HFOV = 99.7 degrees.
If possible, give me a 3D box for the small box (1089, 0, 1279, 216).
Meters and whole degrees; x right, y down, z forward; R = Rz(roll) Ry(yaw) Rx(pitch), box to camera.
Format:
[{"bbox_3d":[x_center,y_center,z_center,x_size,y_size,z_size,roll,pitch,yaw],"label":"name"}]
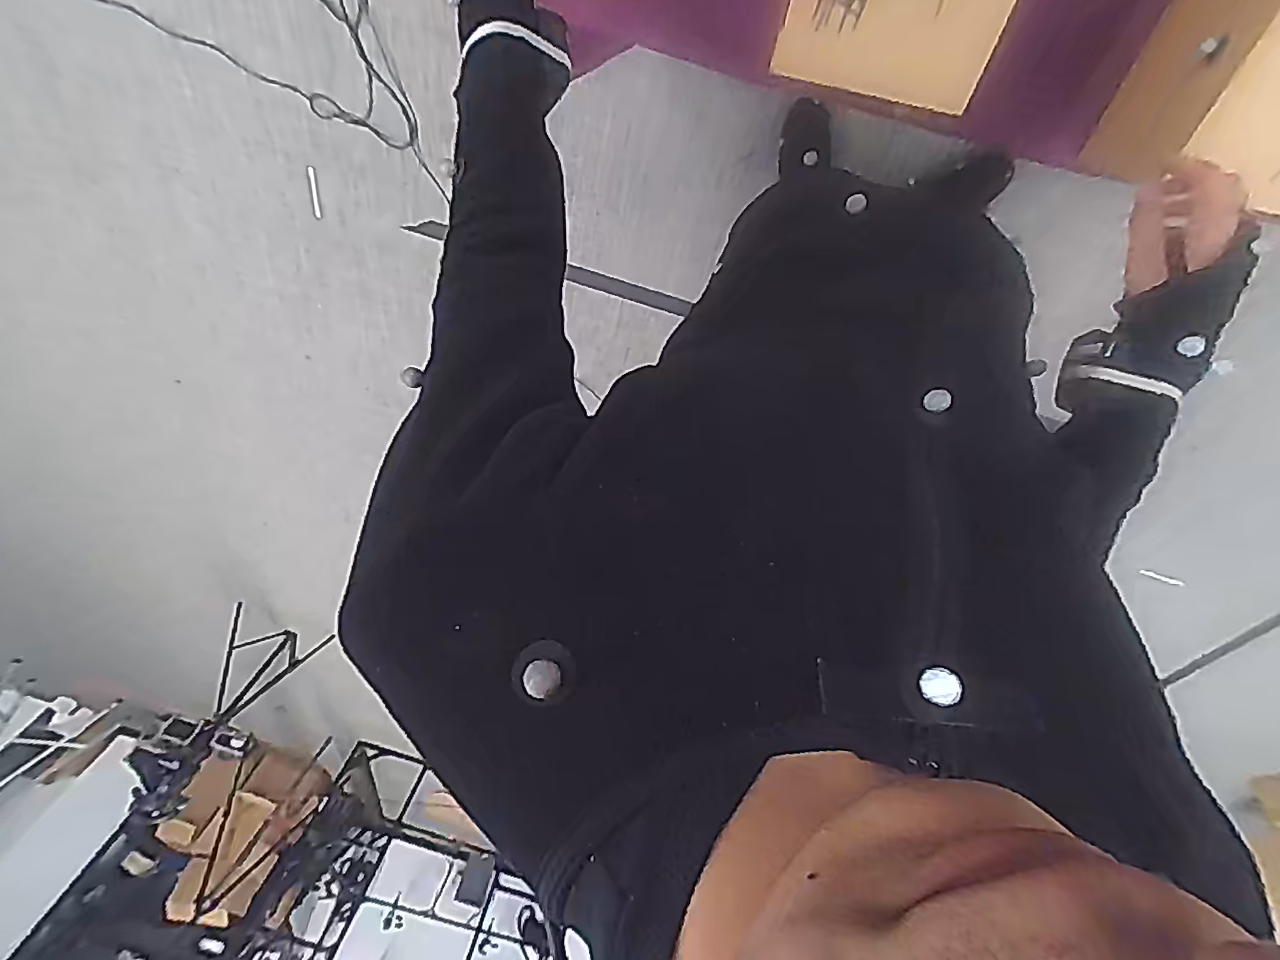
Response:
[{"bbox_3d":[0.557,-0.351,0.477,0.168,0.176,0.179,14,131,4],"label":"small box"}]
